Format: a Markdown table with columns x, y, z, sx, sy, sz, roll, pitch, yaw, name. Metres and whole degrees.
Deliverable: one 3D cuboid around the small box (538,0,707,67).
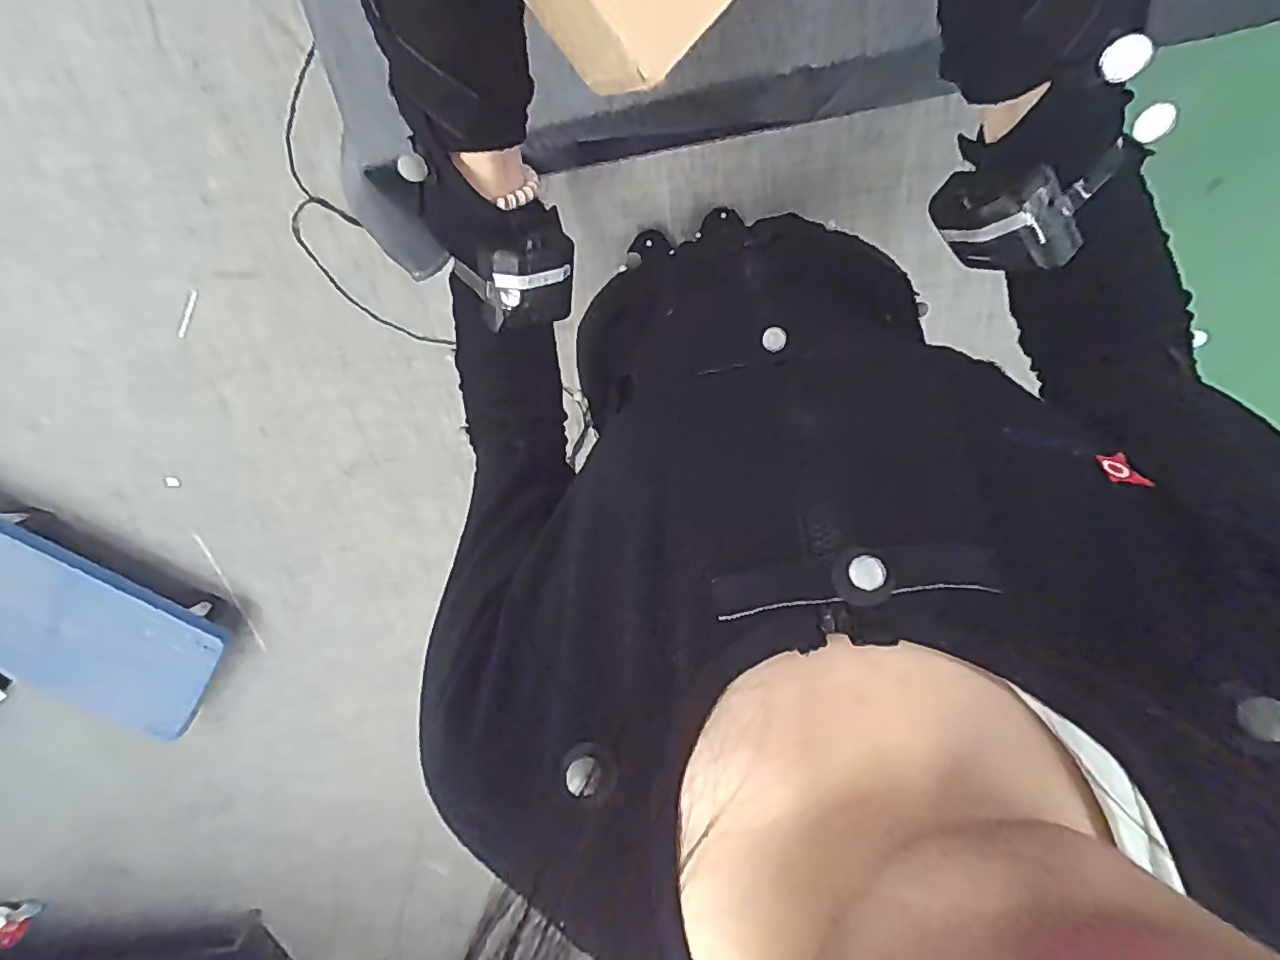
| x | y | z | sx | sy | sz | roll | pitch | yaw | name |
| --- | --- | --- | --- | --- | --- | --- | --- | --- | --- |
| -0.005 | -0.261 | 0.154 | 0.168 | 0.176 | 0.179 | -40 | 122 | 17 | small box |
